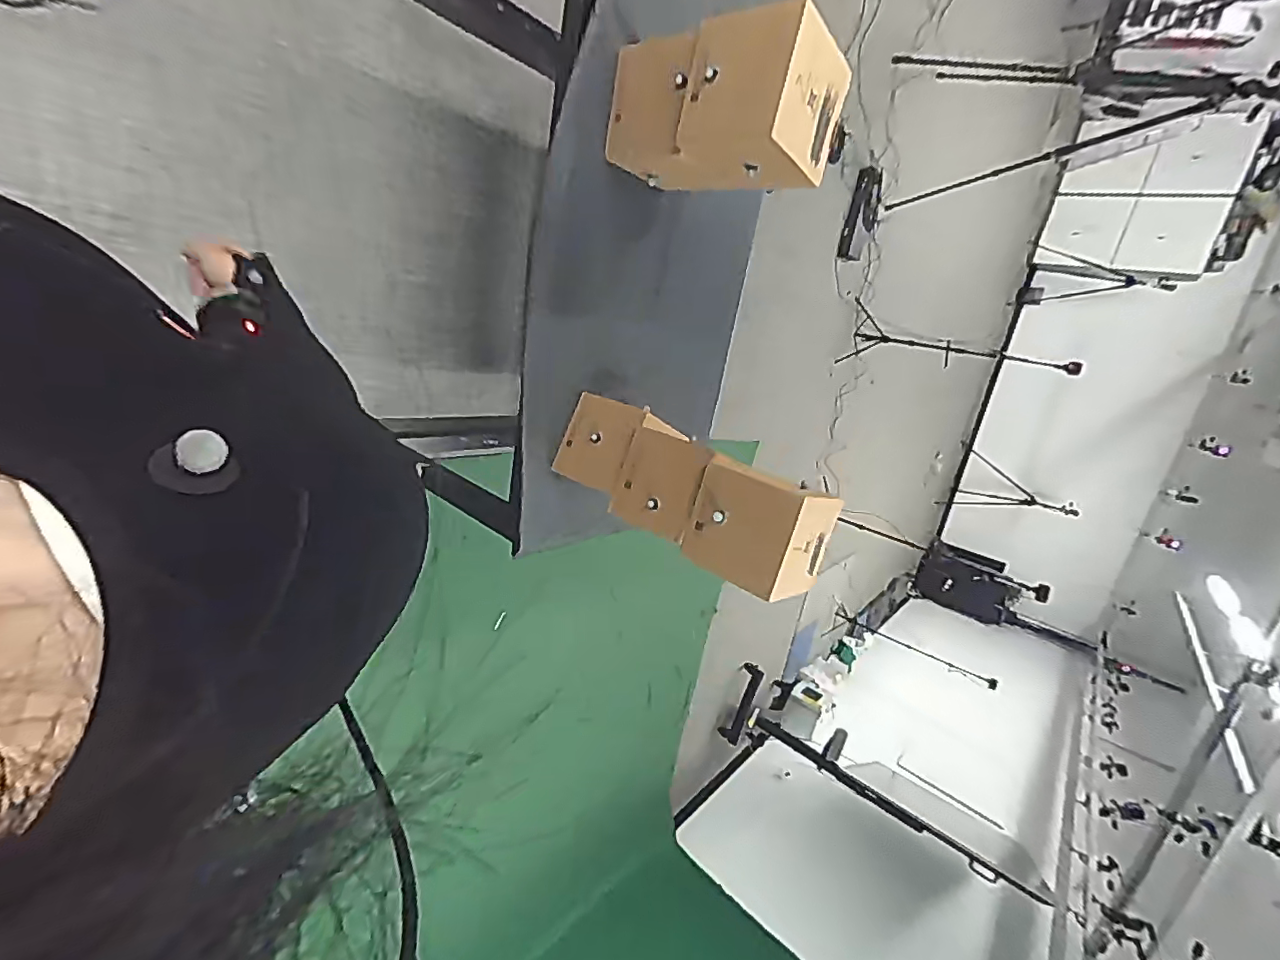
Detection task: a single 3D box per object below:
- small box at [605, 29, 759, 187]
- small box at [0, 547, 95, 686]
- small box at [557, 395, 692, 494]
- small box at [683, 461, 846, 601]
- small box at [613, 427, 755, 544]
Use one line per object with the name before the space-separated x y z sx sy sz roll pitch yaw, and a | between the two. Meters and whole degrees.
small box | 0.069 -0.608 0.907 0.179 0.176 0.168 -10 115 -50
small box | -1.194 0.246 1.009 0.168 0.176 0.179 -51 141 -21
small box | -0.032 -0.055 1.061 0.179 0.176 0.168 23 90 -56
small box | 0.198 0.073 0.865 0.179 0.176 0.168 4 105 -53
small box | 0.080 0.014 0.964 0.179 0.176 0.168 14 98 -55
